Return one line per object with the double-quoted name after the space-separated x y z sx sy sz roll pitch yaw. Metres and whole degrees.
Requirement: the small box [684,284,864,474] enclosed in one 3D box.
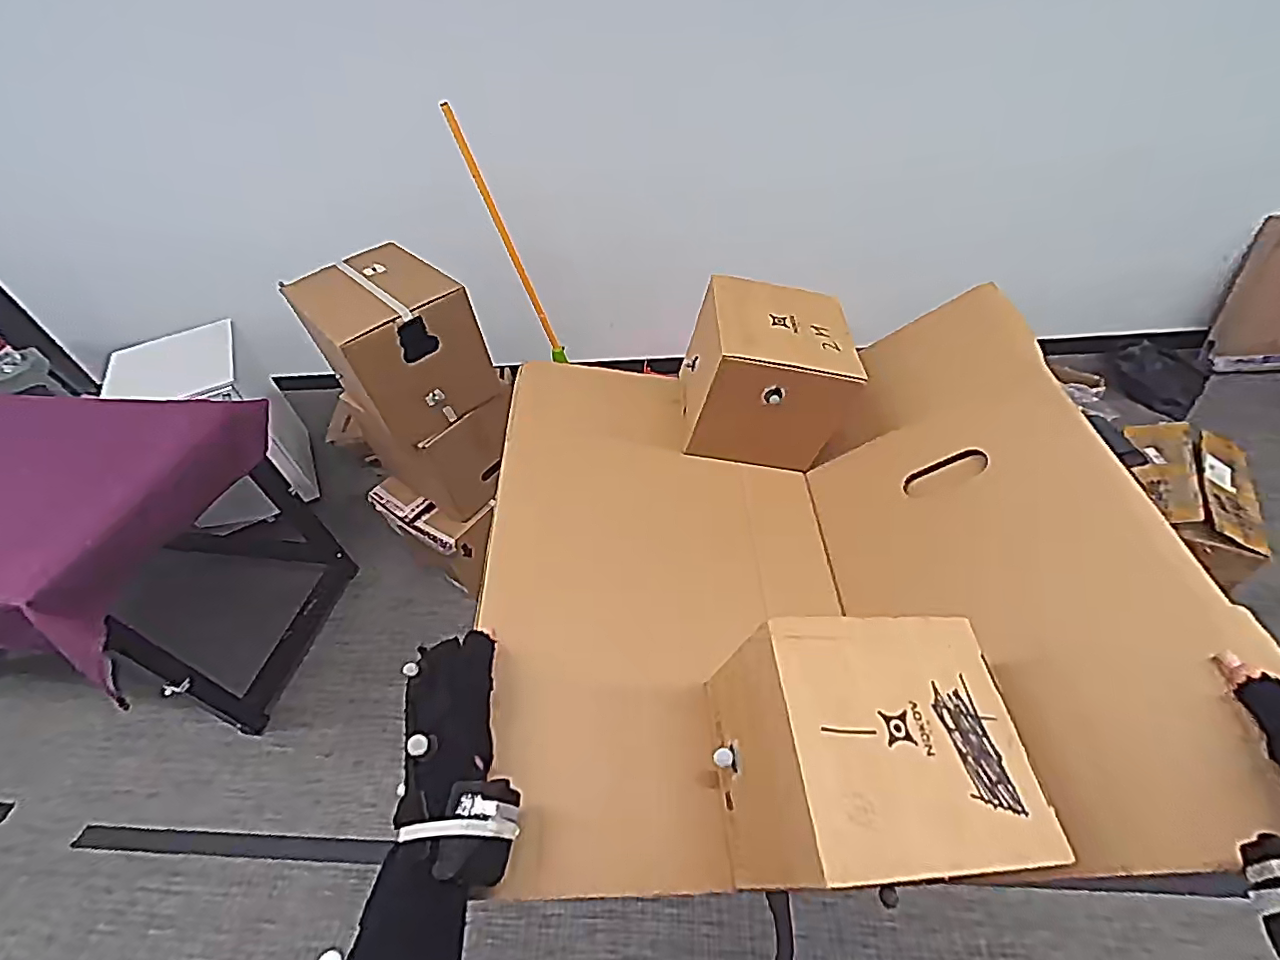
0.158 -0.127 0.711 0.179 0.176 0.168 9 51 -8 "small box"
